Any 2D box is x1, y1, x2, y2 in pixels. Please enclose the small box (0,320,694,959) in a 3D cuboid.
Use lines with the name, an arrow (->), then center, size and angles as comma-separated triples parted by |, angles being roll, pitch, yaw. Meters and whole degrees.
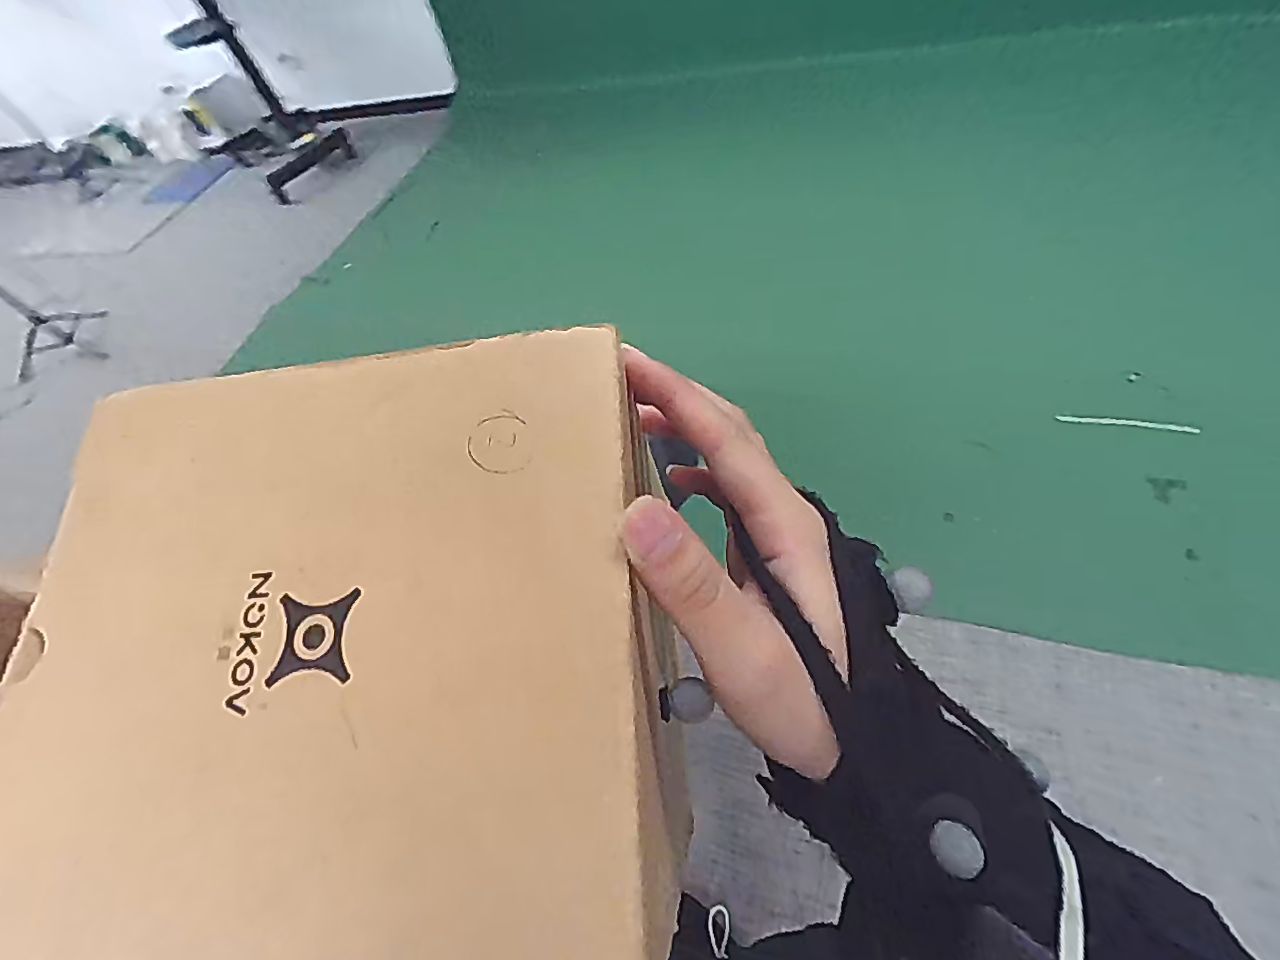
small box -> -0.071, 0.063, 0.213 | 0.179, 0.176, 0.168 | -5, 70, 8
